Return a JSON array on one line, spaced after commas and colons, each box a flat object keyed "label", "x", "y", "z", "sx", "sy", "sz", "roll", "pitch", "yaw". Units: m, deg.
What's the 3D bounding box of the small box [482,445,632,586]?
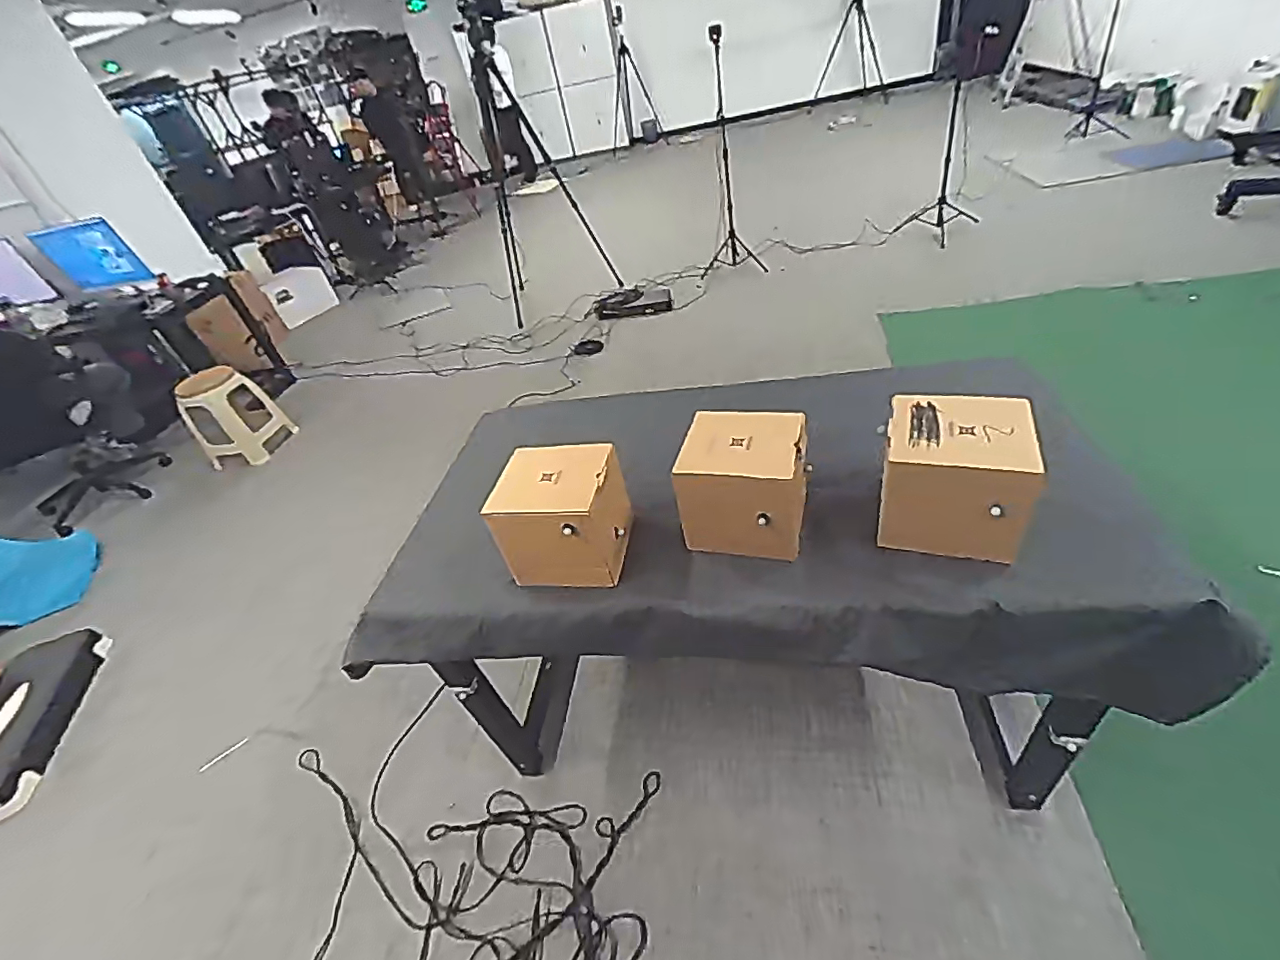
[{"label": "small box", "x": -0.126, "y": 0.060, "z": 0.892, "sx": 0.179, "sy": 0.176, "sz": 0.168, "roll": -2, "pitch": 39, "yaw": 14}]

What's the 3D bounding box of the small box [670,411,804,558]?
[{"label": "small box", "x": 0.165, "y": 0.007, "z": 0.864, "sx": 0.179, "sy": 0.176, "sz": 0.168, "roll": 2, "pitch": 40, "yaw": 22}]
